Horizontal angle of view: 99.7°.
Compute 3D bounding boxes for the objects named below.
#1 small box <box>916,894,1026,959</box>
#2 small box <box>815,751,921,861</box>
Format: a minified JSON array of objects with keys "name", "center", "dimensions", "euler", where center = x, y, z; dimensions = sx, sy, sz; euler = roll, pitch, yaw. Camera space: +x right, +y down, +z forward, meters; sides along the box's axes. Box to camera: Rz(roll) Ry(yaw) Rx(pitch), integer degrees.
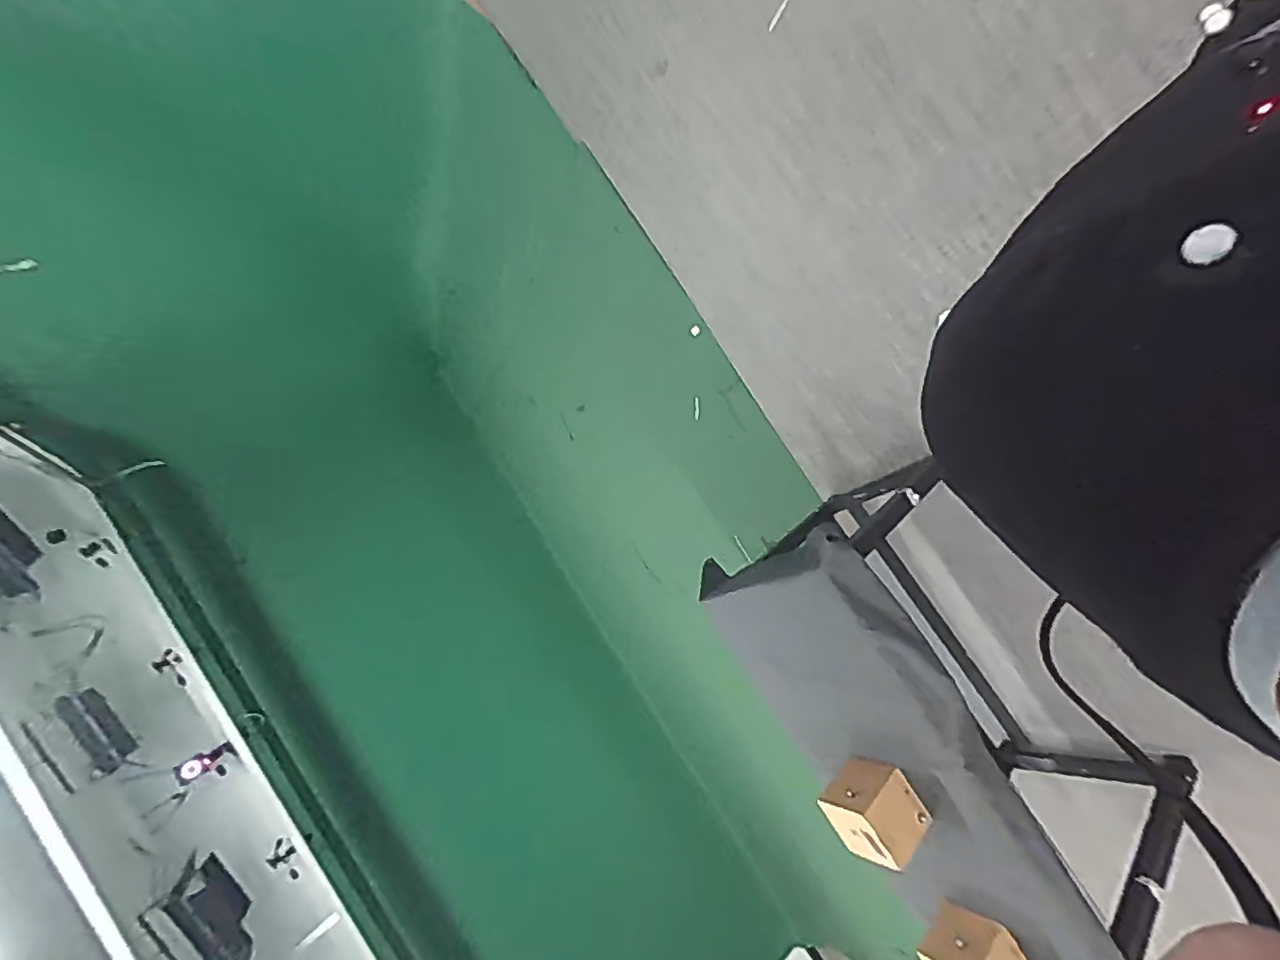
[{"name":"small box","center":[0.880,1.249,1.425],"dimensions":[0.168,0.176,0.179],"euler":[57,150,4]},{"name":"small box","center":[0.615,0.857,1.444],"dimensions":[0.168,0.176,0.179],"euler":[56,151,2]}]
